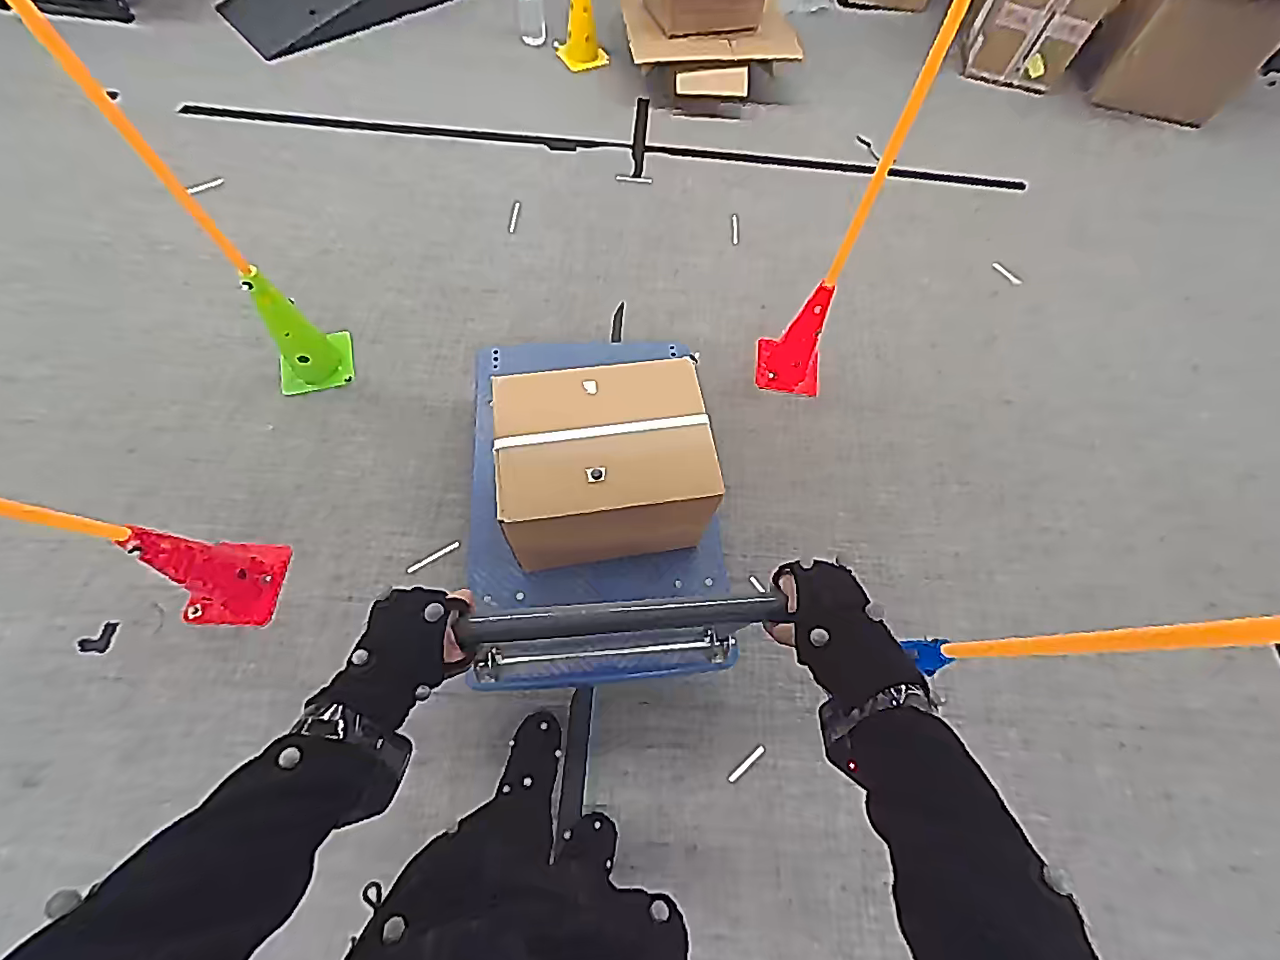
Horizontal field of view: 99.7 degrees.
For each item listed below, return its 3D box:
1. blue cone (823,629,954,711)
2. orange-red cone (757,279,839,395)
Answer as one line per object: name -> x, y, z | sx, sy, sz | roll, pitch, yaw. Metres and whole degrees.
blue cone -> 0.568, 0.393, 1.187 | 0.193, 0.380, 0.192 | 1, 63, -4
orange-red cone -> 0.488, -0.434, 1.560 | 0.199, 0.360, 0.198 | 11, 65, 0
